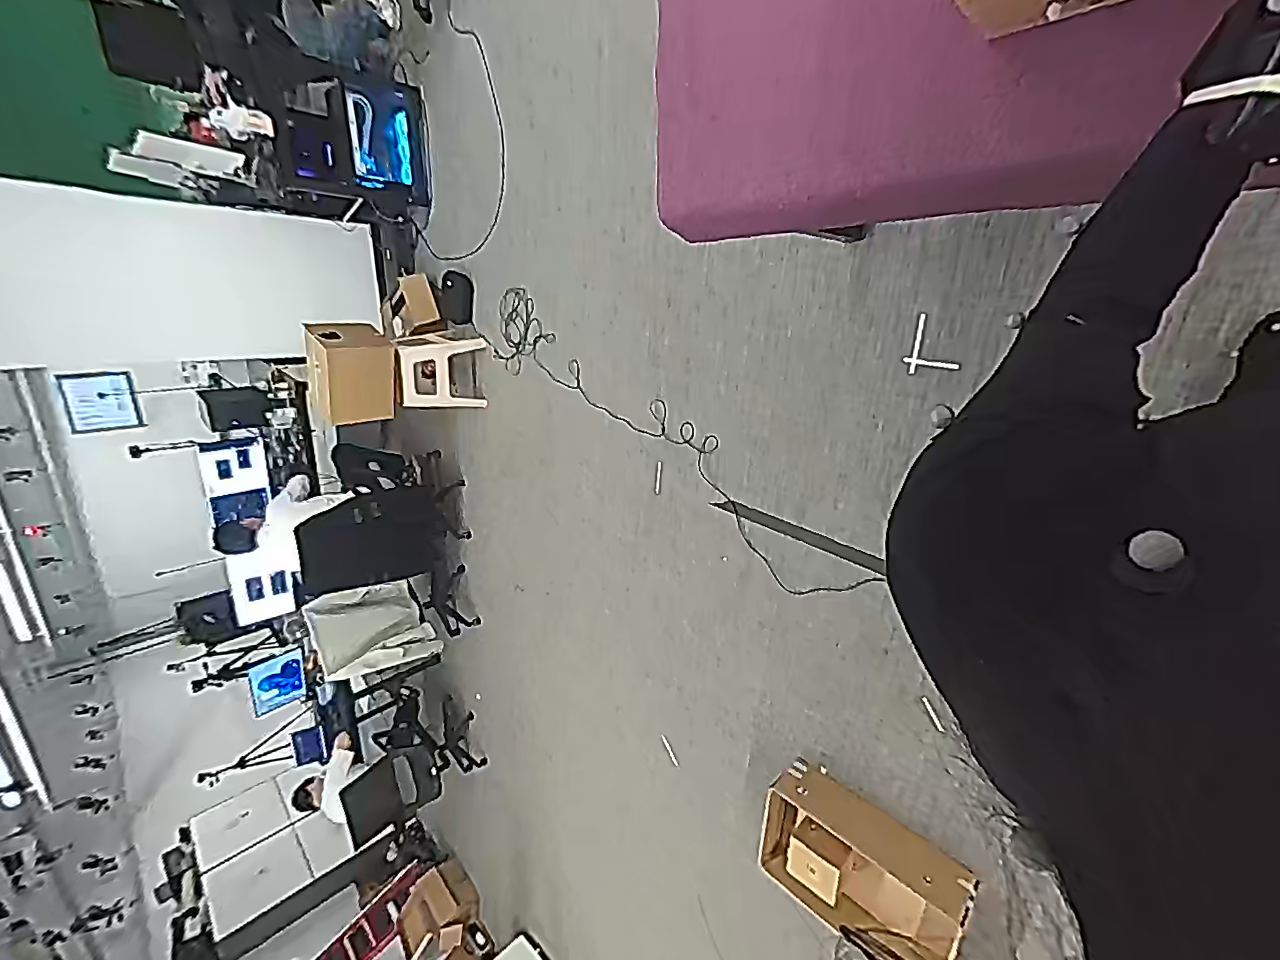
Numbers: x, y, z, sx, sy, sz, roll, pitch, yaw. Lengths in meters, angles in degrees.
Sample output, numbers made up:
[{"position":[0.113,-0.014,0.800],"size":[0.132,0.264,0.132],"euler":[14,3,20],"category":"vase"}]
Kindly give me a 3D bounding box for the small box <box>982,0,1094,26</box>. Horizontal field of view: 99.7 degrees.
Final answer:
[{"position":[0.402,-0.561,0.483],"size":[0.168,0.176,0.179],"euler":[17,115,43],"category":"small box"}]

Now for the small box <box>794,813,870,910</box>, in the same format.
[{"position":[0.644,1.267,1.816],"size":[0.179,0.176,0.168],"euler":[16,114,41],"category":"small box"}]
